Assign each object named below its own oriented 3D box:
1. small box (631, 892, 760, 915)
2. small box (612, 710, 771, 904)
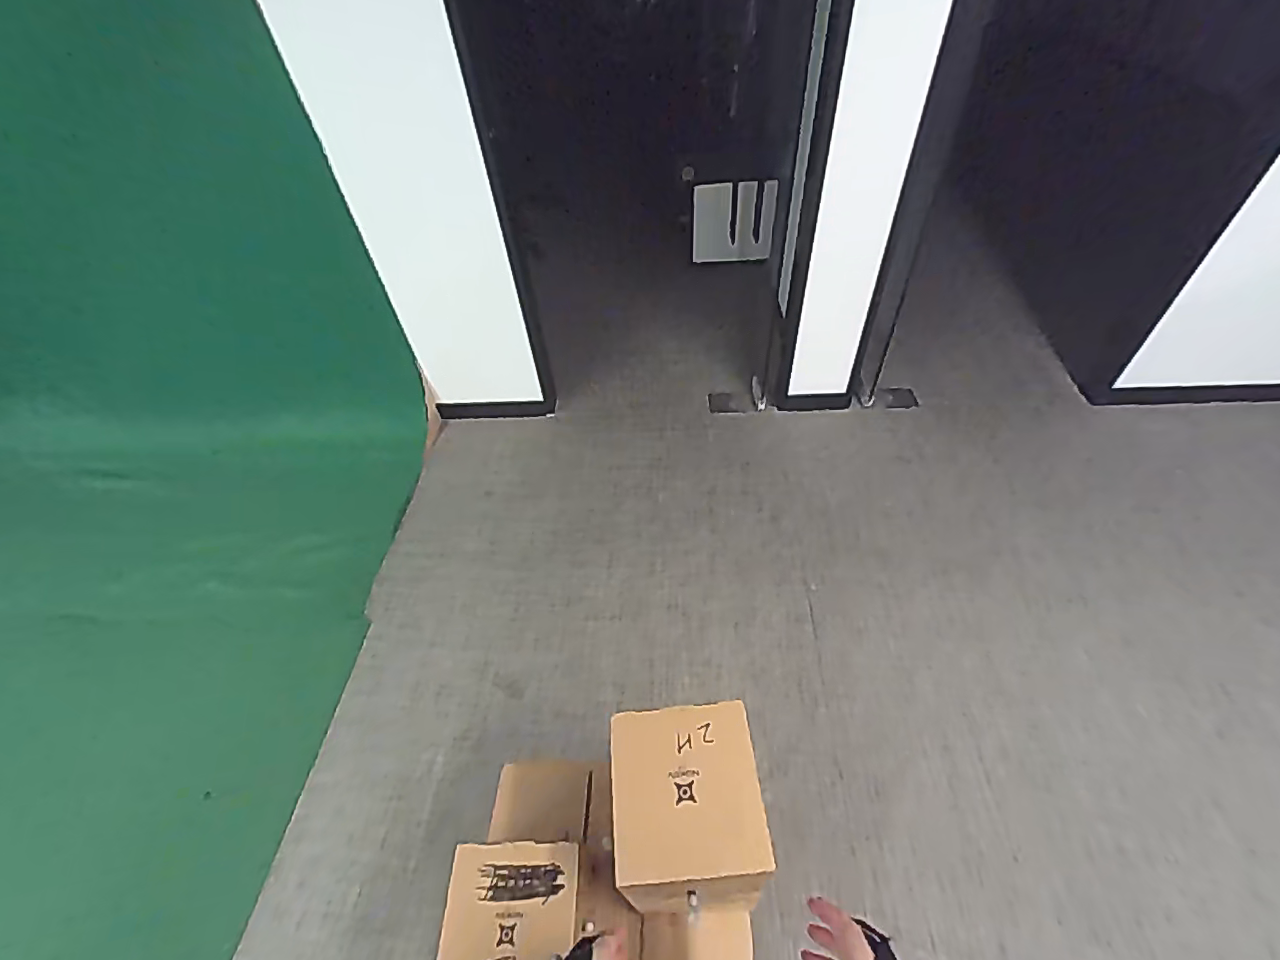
[{"bbox_3d":[0.074,0.516,0.788,0.168,0.176,0.179,-5,49,4],"label":"small box"},{"bbox_3d":[0.059,0.407,0.667,0.168,0.176,0.179,-6,47,1],"label":"small box"}]
